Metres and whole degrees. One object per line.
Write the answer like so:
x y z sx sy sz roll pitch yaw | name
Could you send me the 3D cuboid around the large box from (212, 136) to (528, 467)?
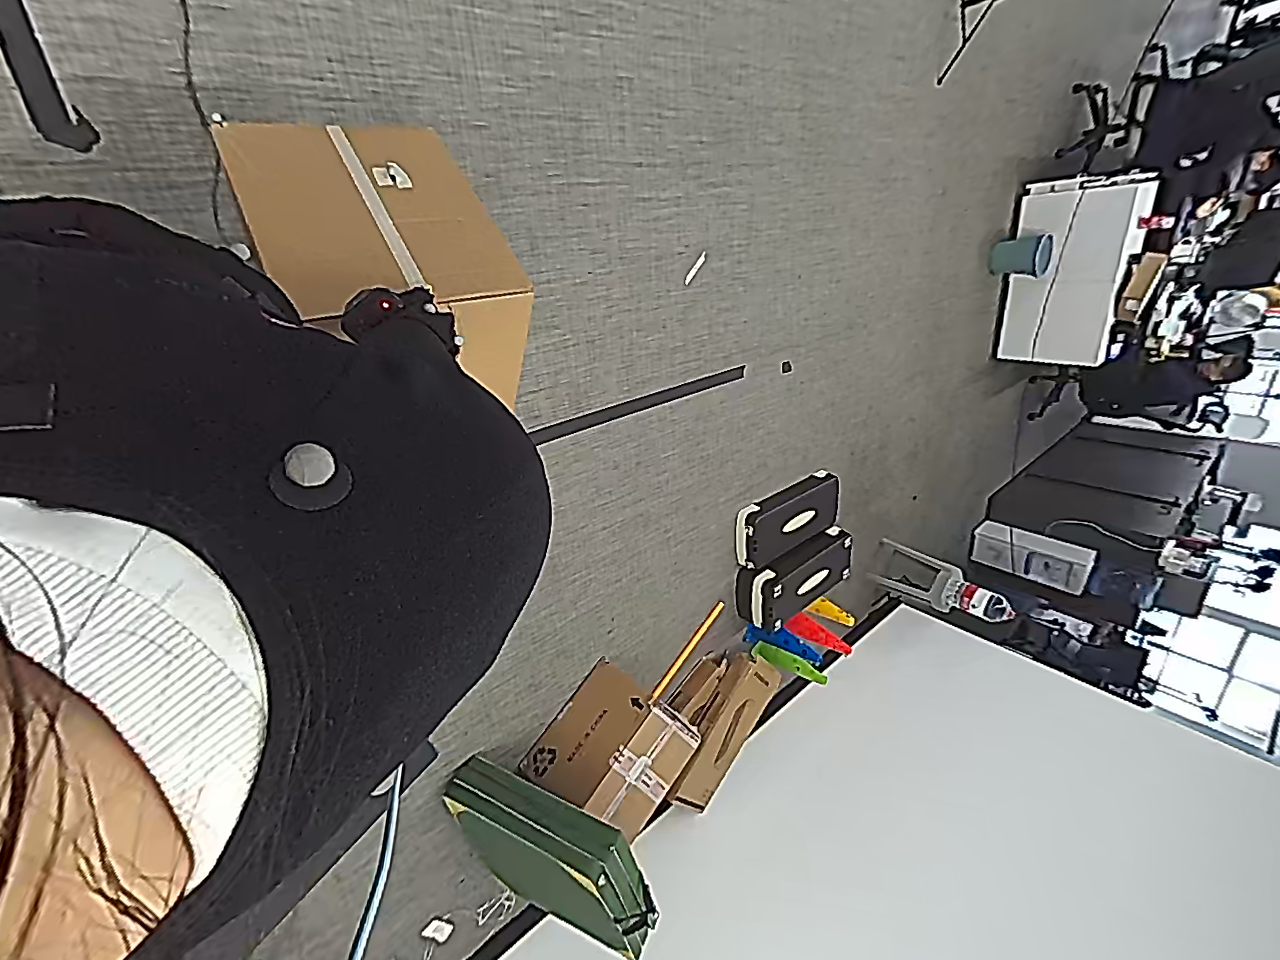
-0.427 -0.295 0.895 0.320 0.408 0.320 -20 156 -31 | large box
